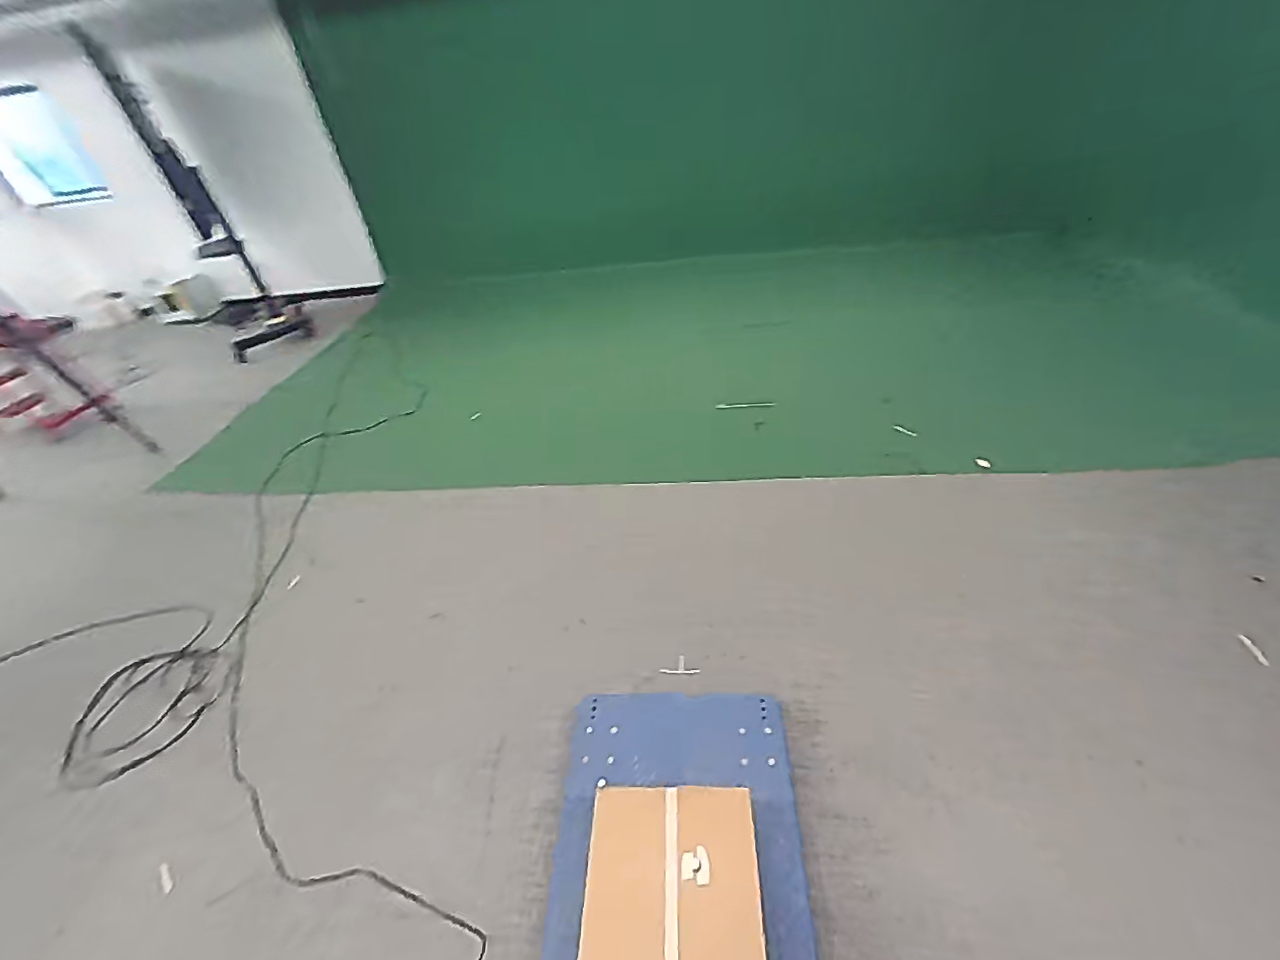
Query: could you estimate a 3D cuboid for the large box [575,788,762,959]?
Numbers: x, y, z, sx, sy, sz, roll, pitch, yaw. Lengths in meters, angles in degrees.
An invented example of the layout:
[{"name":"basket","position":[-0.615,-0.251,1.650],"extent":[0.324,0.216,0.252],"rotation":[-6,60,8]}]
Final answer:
[{"name":"large box","position":[0.066,0.874,1.041],"extent":[0.320,0.320,0.408],"rotation":[-3,38,7]}]
